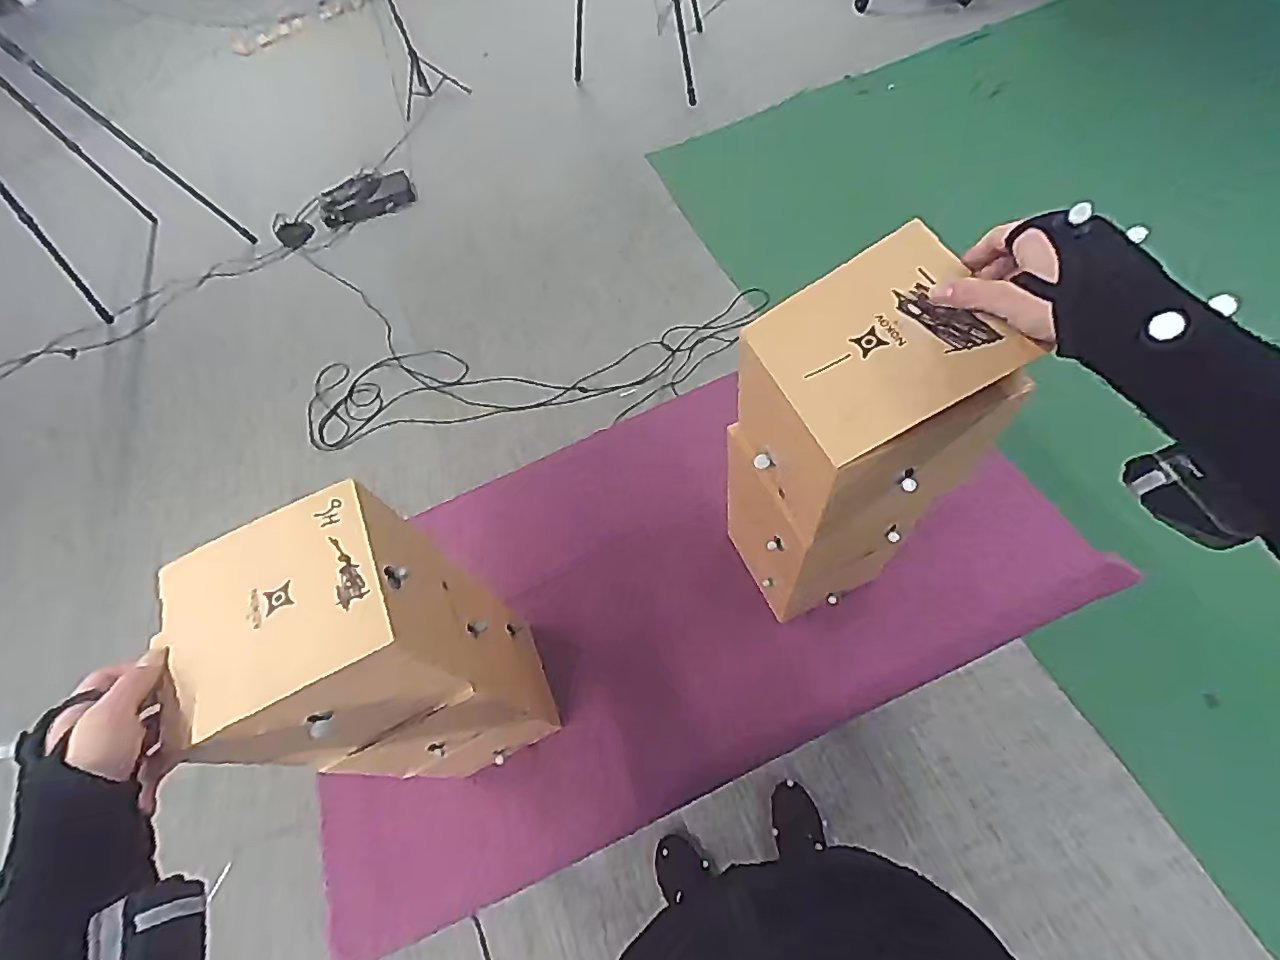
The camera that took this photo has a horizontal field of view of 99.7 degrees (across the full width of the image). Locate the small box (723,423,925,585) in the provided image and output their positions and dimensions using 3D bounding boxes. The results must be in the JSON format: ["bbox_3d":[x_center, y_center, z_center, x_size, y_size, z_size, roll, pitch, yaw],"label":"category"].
[{"bbox_3d":[0.218,0.013,0.671,0.168,0.176,0.179,-25,59,-4],"label":"small box"}]

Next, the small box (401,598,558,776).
[{"bbox_3d":[-0.237,0.302,0.778,0.168,0.176,0.179,-25,59,-4],"label":"small box"}]

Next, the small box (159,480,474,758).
[{"bbox_3d":[-0.285,0.137,0.500,0.179,0.176,0.168,-27,60,-6],"label":"small box"}]

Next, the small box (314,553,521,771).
[{"bbox_3d":[-0.261,0.220,0.639,0.168,0.176,0.179,-25,60,-6],"label":"small box"}]

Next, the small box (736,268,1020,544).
[{"bbox_3d":[0.204,-0.063,0.527,0.179,0.176,0.168,-23,59,-2],"label":"small box"}]
